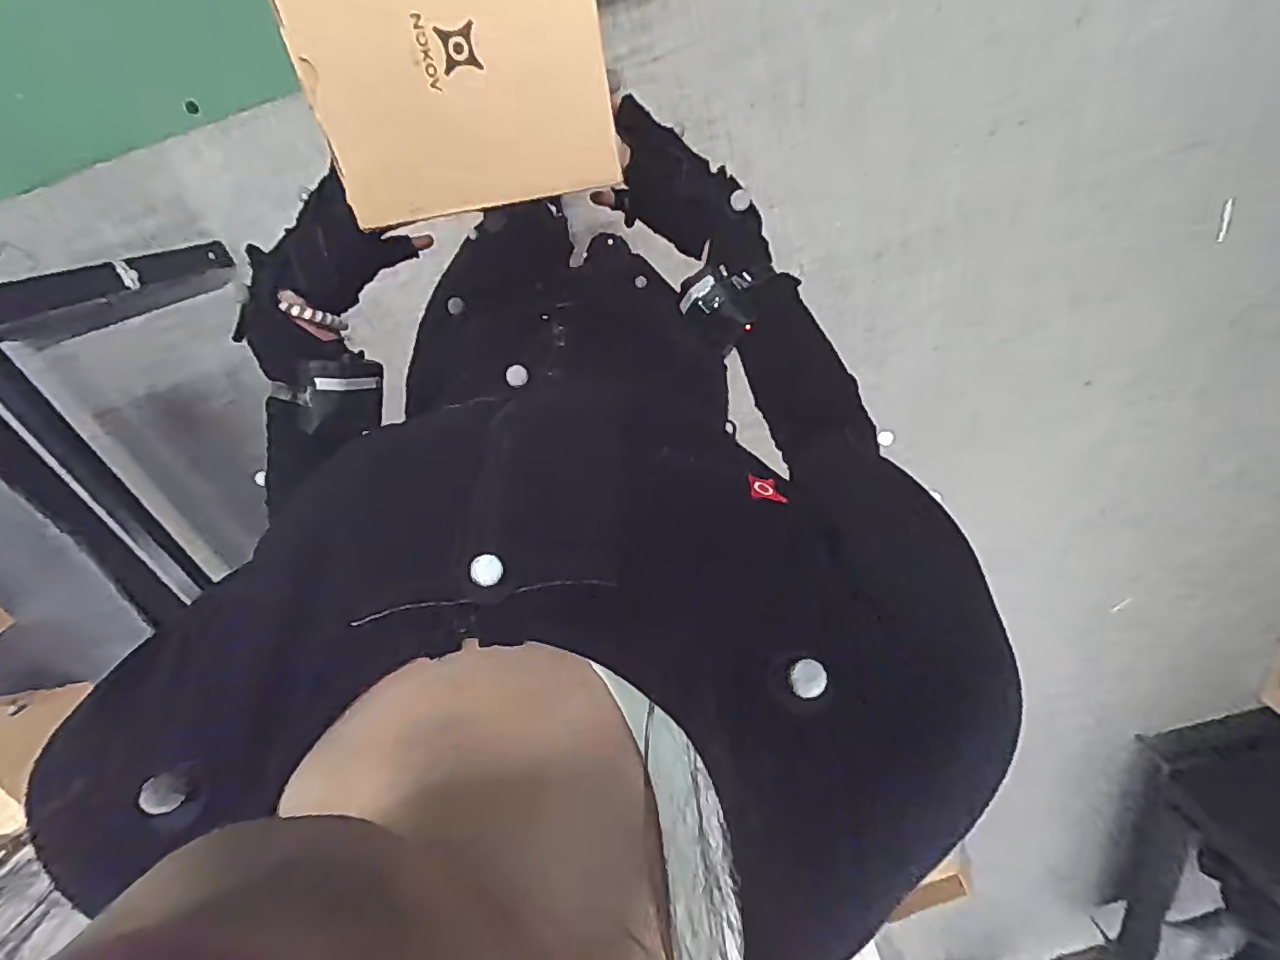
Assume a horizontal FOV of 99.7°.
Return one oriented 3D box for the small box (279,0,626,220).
[{"bbox_3d":[-0.114,-0.292,0.374,0.179,0.176,0.168,-11,121,0],"label":"small box"}]
